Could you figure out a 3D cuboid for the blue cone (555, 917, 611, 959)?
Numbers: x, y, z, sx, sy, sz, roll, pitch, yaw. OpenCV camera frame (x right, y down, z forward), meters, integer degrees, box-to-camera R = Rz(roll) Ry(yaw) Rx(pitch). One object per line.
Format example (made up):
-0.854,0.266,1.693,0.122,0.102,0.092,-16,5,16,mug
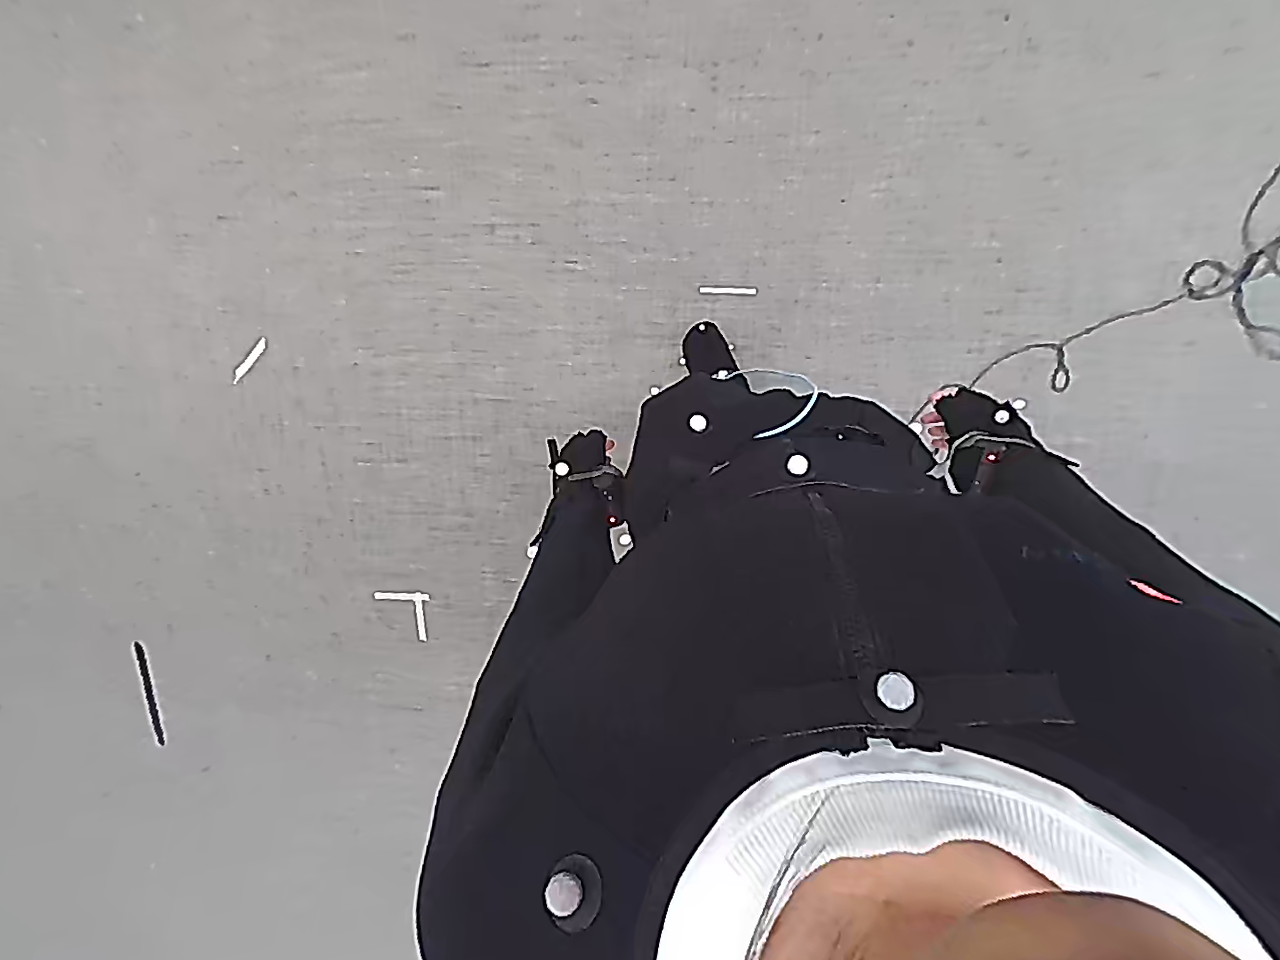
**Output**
-0.217,1.625,1.694,0.192,0.380,0.193,7,104,6,blue cone
